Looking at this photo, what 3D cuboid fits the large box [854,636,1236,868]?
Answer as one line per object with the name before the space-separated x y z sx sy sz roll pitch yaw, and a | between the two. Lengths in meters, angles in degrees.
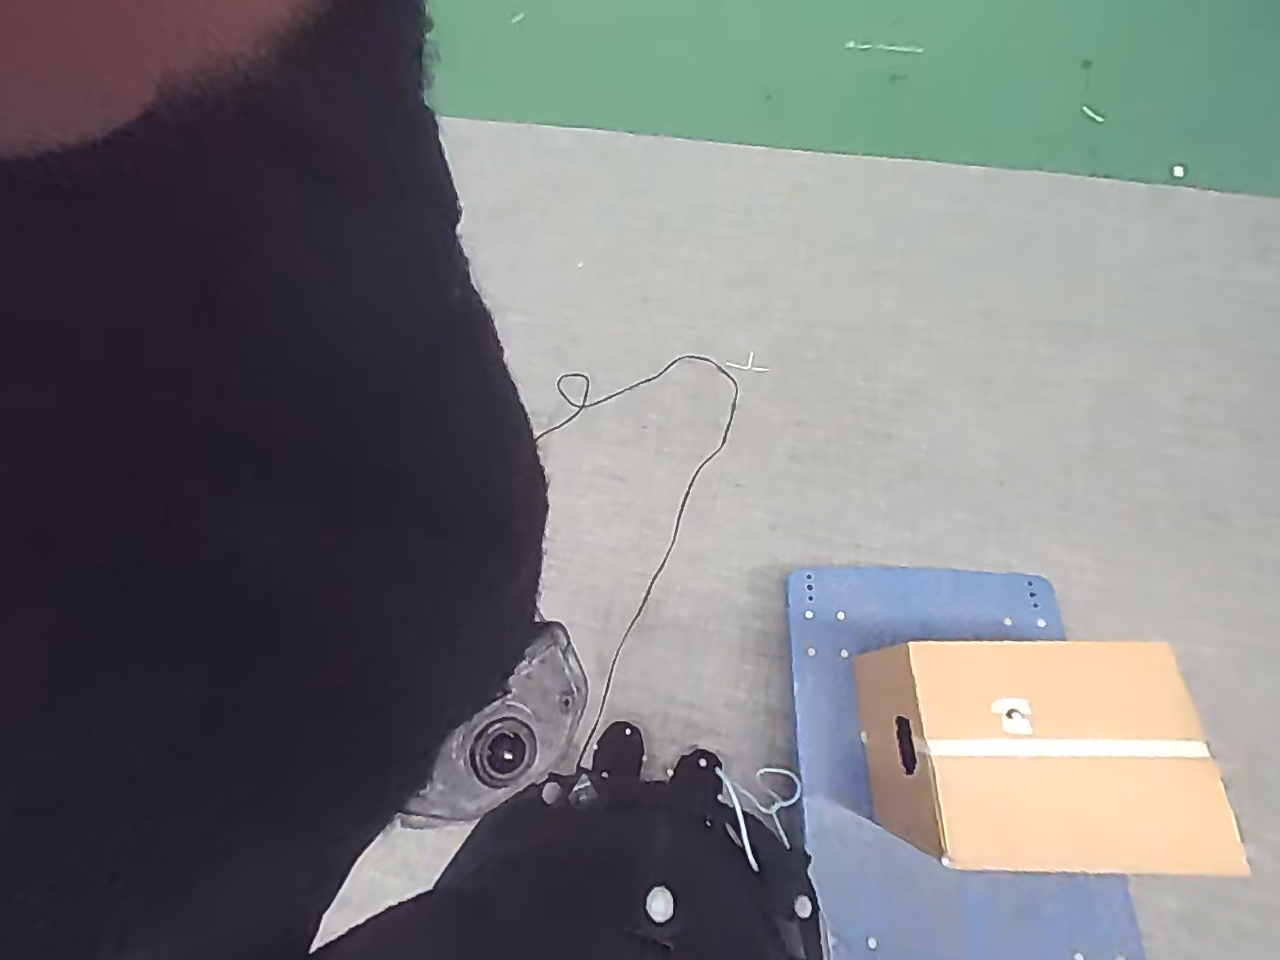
large box | 0.646 0.459 0.957 0.408 0.320 0.320 -2 66 4
